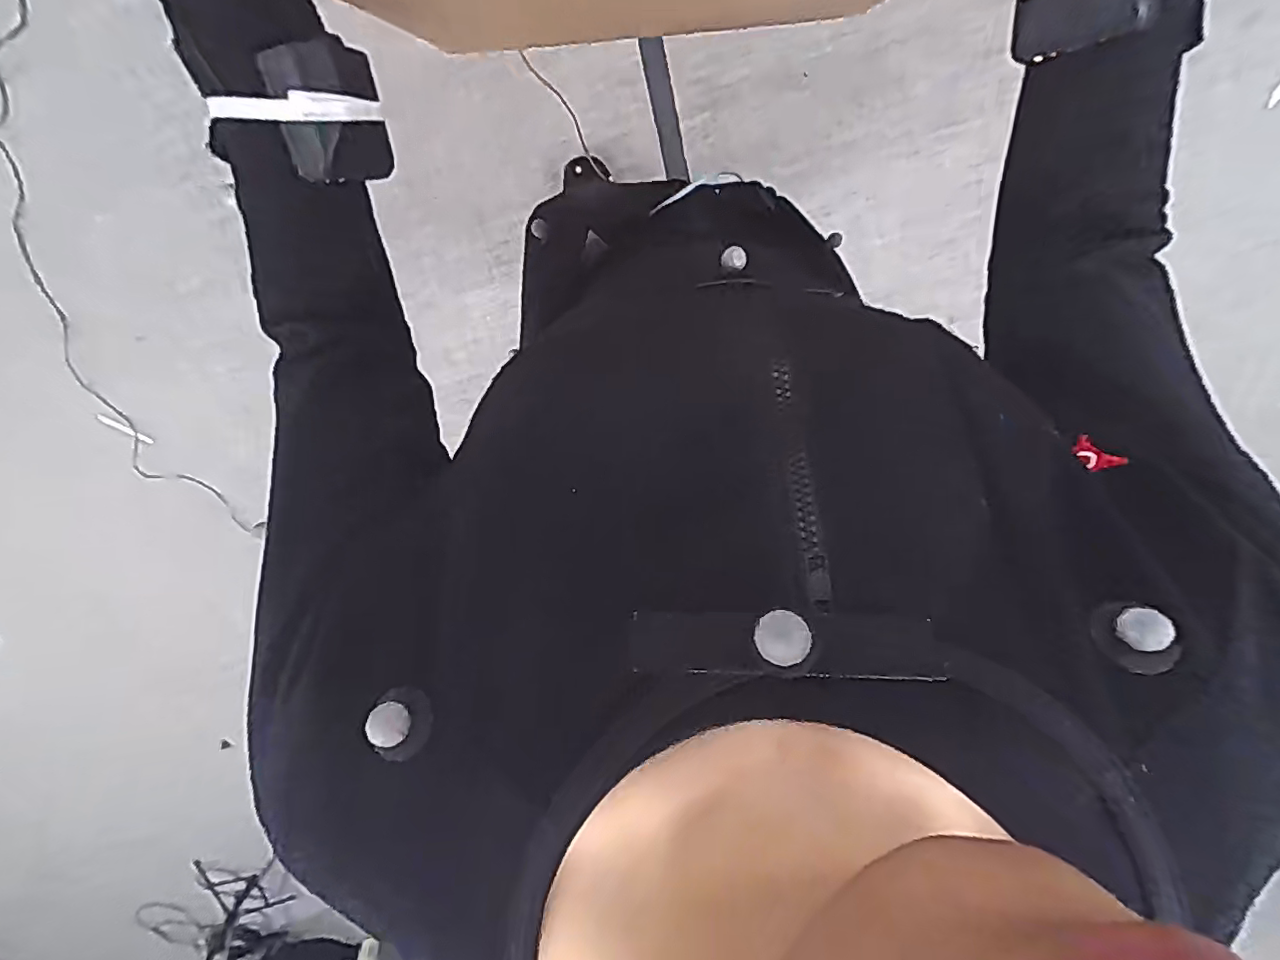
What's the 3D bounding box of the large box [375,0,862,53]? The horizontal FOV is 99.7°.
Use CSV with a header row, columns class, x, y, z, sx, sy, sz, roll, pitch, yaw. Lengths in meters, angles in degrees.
class,x,y,z,sx,sy,sz,roll,pitch,yaw
large box,0.005,-0.486,0.317,0.408,0.320,0.320,-5,123,1
